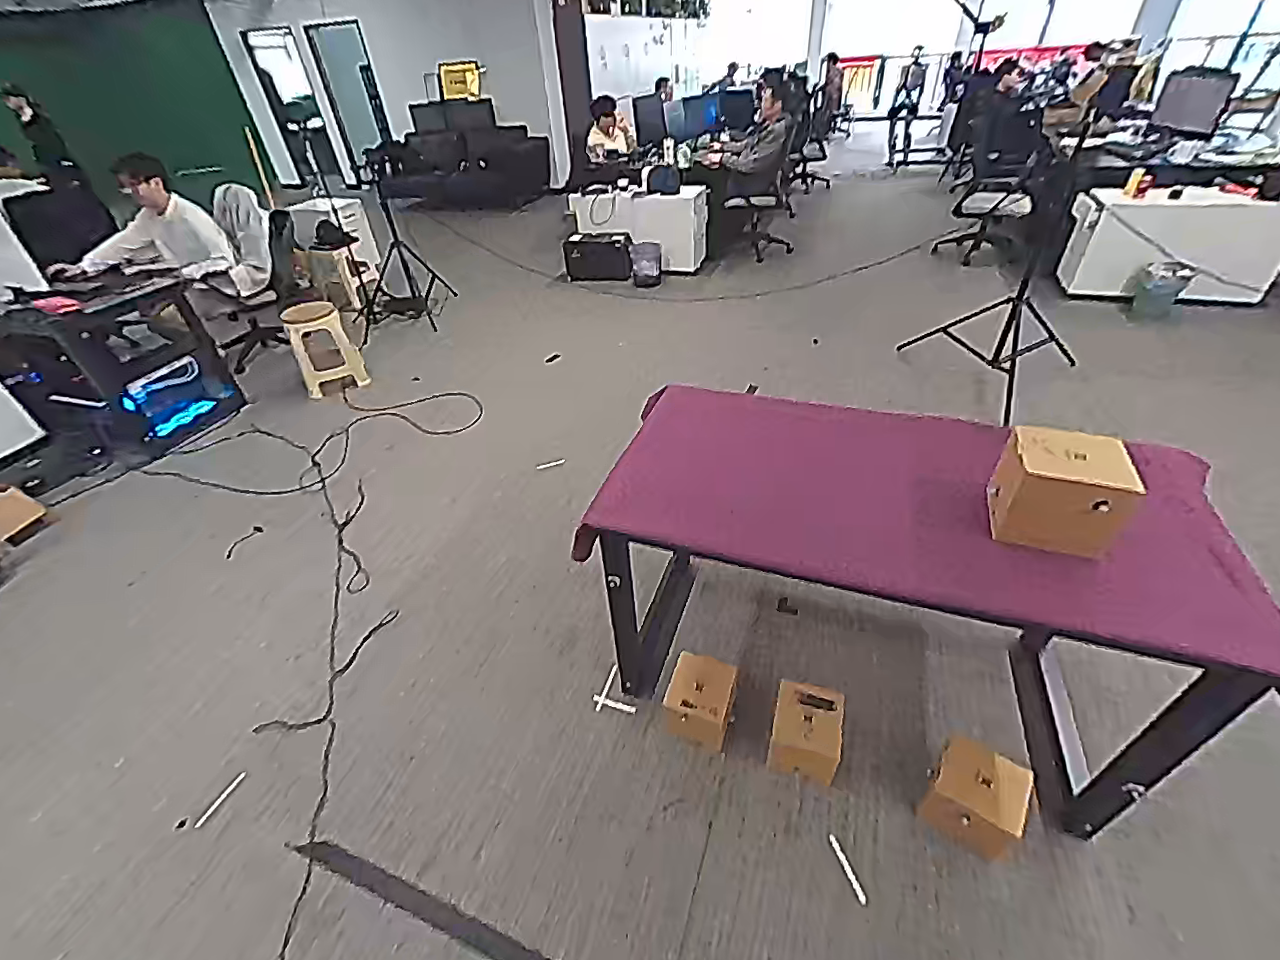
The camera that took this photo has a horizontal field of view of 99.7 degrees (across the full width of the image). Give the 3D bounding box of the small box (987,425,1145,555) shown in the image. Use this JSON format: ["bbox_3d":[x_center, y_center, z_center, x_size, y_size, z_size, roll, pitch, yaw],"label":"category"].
[{"bbox_3d":[0.789,0.019,1.023,0.179,0.176,0.168,11,40,20],"label":"small box"}]

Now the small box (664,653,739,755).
[{"bbox_3d":[0.172,0.622,1.505,0.168,0.176,0.179,11,40,19],"label":"small box"}]

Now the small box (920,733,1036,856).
[{"bbox_3d":[0.794,0.749,1.281,0.179,0.176,0.168,22,46,31],"label":"small box"}]
